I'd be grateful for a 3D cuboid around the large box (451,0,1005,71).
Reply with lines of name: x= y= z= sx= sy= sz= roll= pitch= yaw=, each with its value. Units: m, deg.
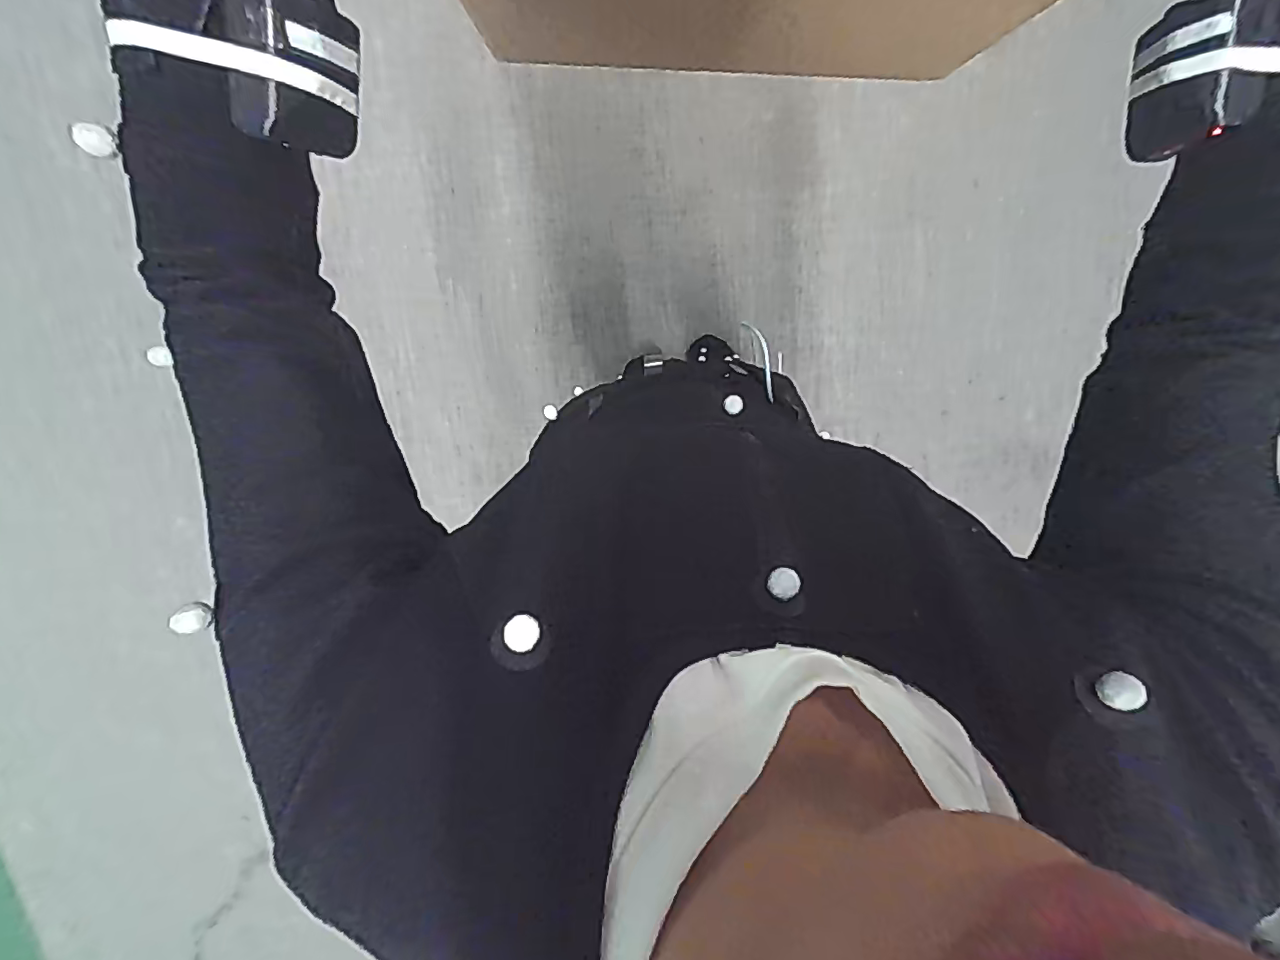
large box: x=0.063 y=-0.463 z=0.293 sx=0.408 sy=0.320 sz=0.320 roll=-1 pitch=110 yaw=-1
